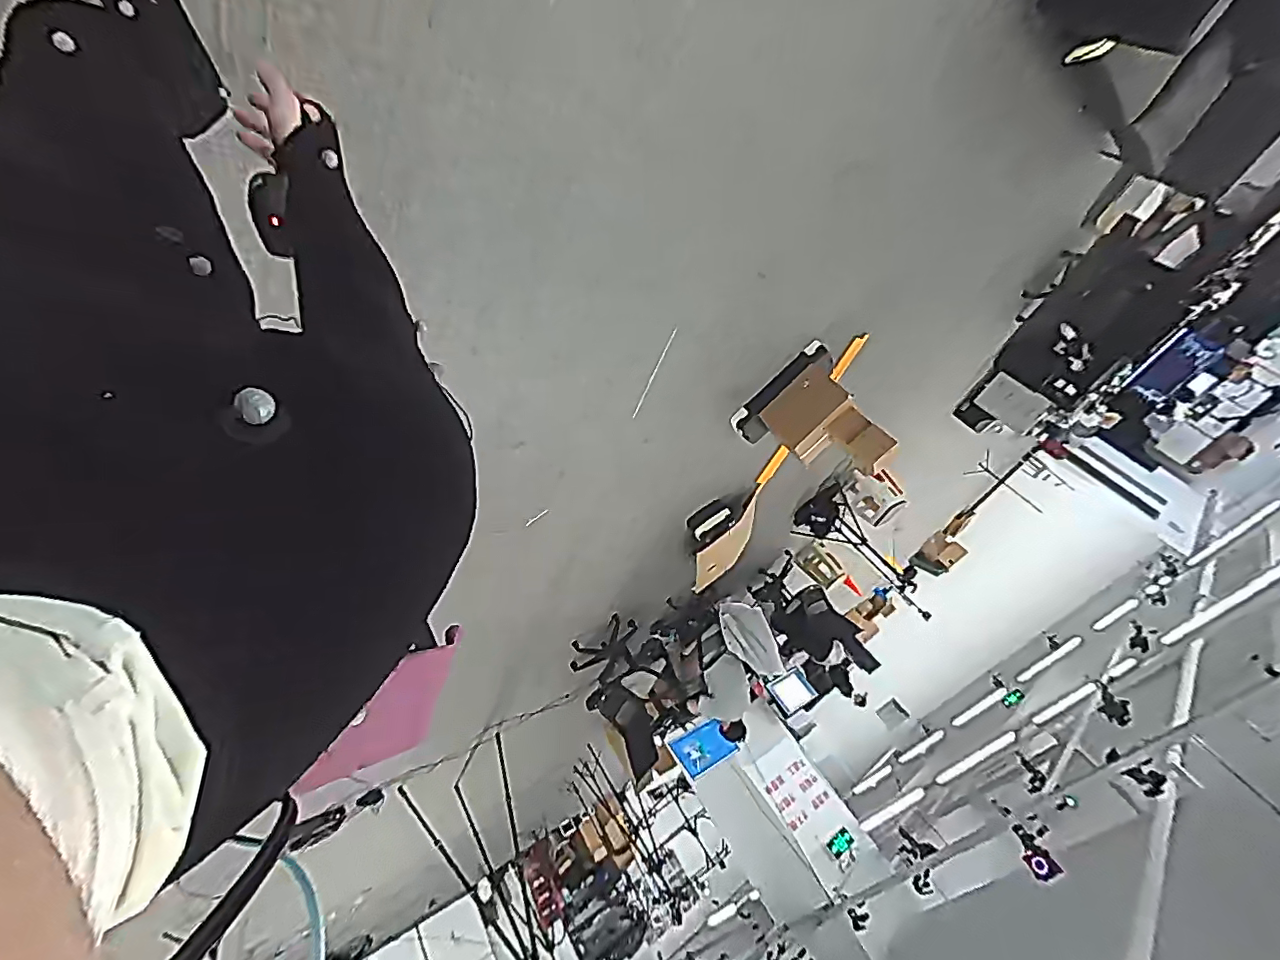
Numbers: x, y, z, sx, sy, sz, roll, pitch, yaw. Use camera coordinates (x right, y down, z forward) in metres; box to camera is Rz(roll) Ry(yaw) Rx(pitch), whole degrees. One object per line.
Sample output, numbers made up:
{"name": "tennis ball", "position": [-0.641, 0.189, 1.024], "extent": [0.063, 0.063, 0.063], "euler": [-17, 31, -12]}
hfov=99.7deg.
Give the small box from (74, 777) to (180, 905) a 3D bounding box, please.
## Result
{"name": "small box", "position": [-1.198, 0.838, 1.268], "extent": [0.168, 0.176, 0.179], "euler": [-9, 139, -42]}
